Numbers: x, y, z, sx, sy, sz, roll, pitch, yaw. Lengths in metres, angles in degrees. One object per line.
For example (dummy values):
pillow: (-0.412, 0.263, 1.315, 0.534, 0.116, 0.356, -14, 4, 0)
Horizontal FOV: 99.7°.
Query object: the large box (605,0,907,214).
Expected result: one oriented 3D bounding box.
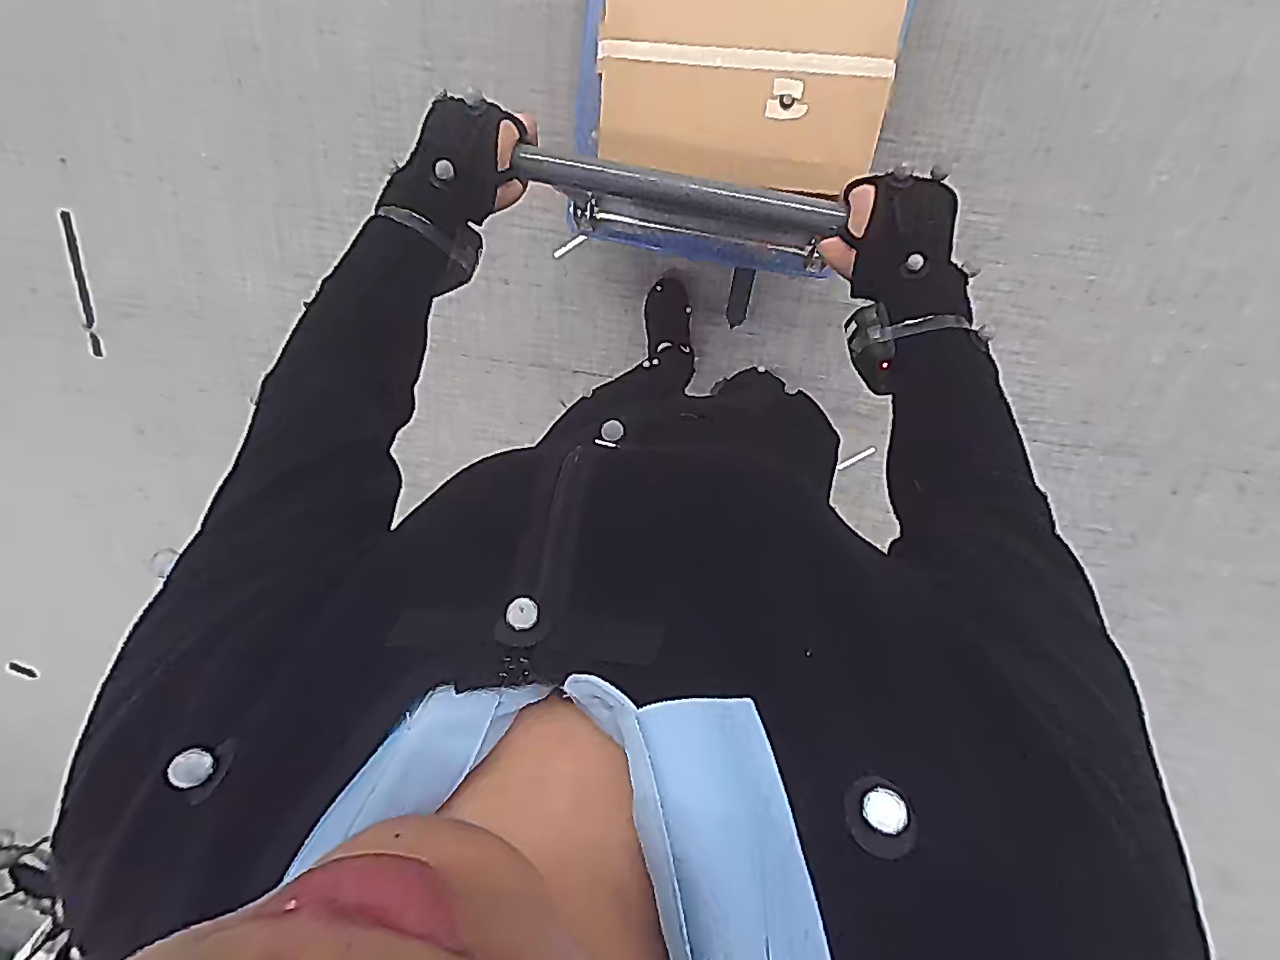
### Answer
large box: (0.167, -0.642, 0.903, 0.408, 0.320, 0.320, 8, 114, 4)
